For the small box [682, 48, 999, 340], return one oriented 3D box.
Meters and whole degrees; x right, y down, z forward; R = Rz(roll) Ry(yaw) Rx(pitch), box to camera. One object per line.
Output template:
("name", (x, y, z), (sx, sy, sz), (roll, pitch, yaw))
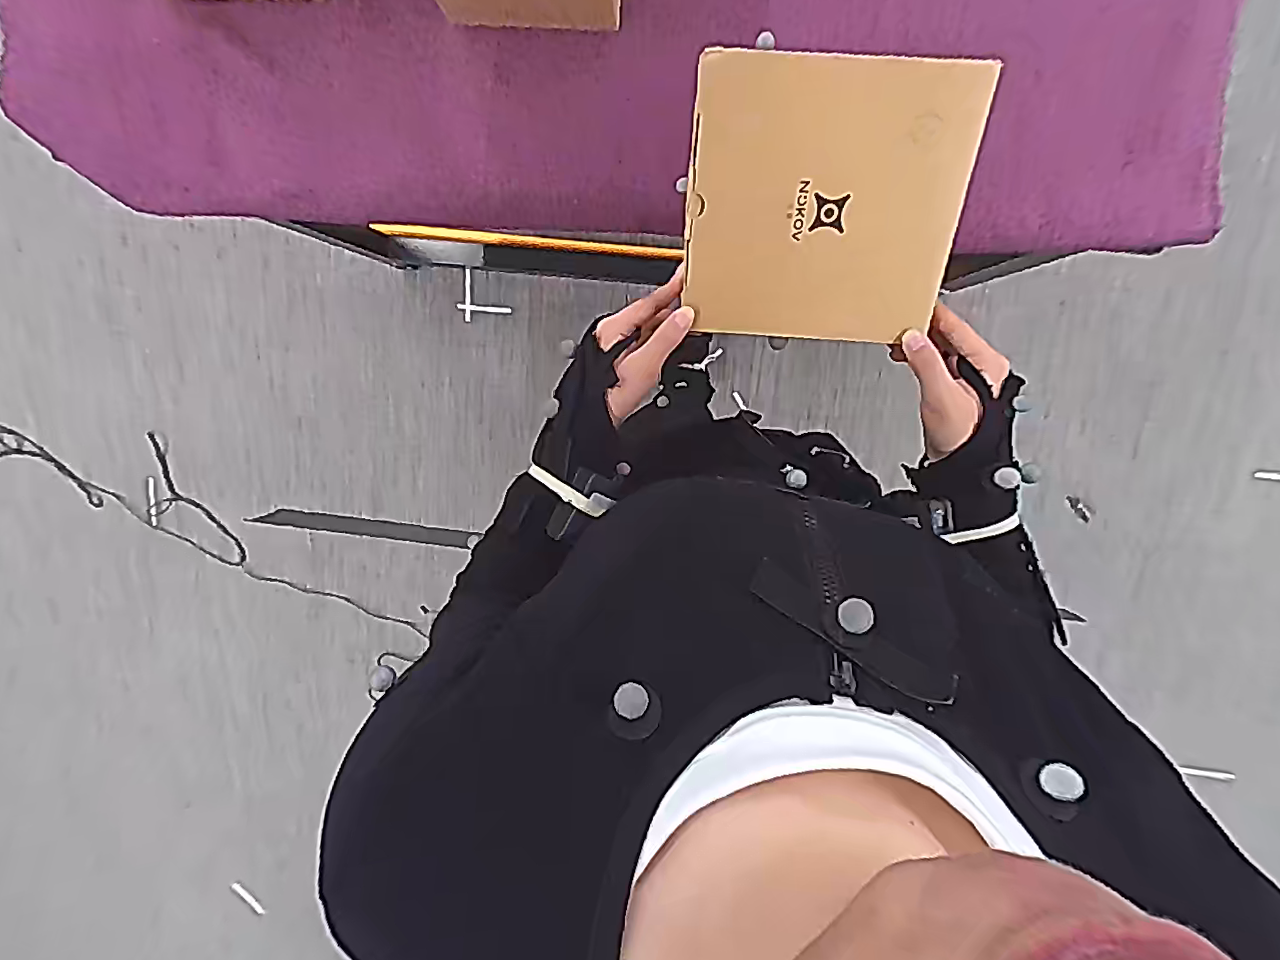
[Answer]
("small box", (0.127, -0.215, 0.426), (0.179, 0.176, 0.168), (5, 116, 4))
